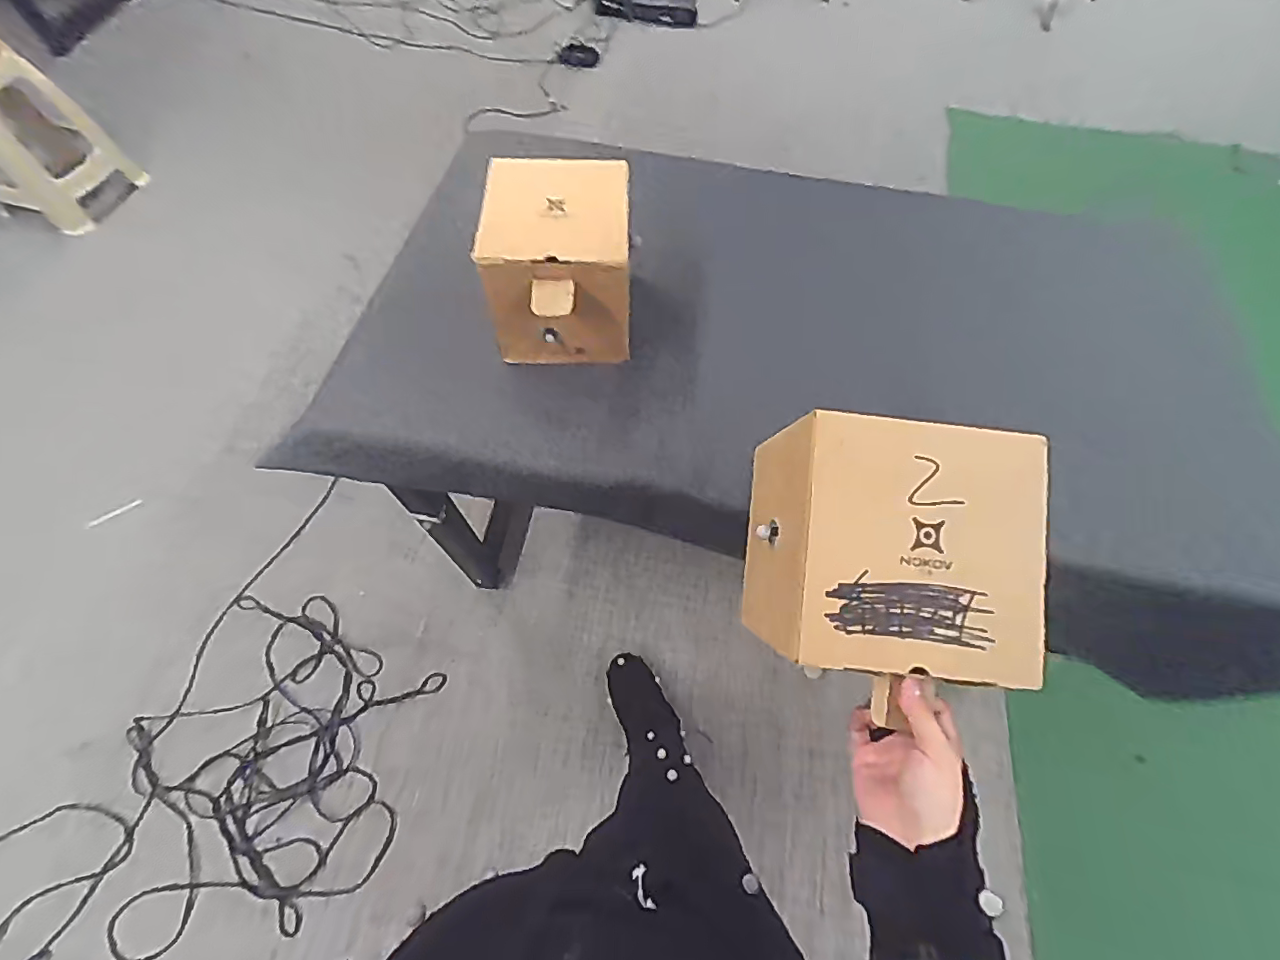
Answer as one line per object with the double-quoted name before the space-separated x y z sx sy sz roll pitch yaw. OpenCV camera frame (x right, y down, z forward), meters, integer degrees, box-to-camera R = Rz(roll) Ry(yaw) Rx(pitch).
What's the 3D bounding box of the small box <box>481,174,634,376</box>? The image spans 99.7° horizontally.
"small box" -0.093 -0.256 0.689 0.168 0.176 0.179 0 62 -2
